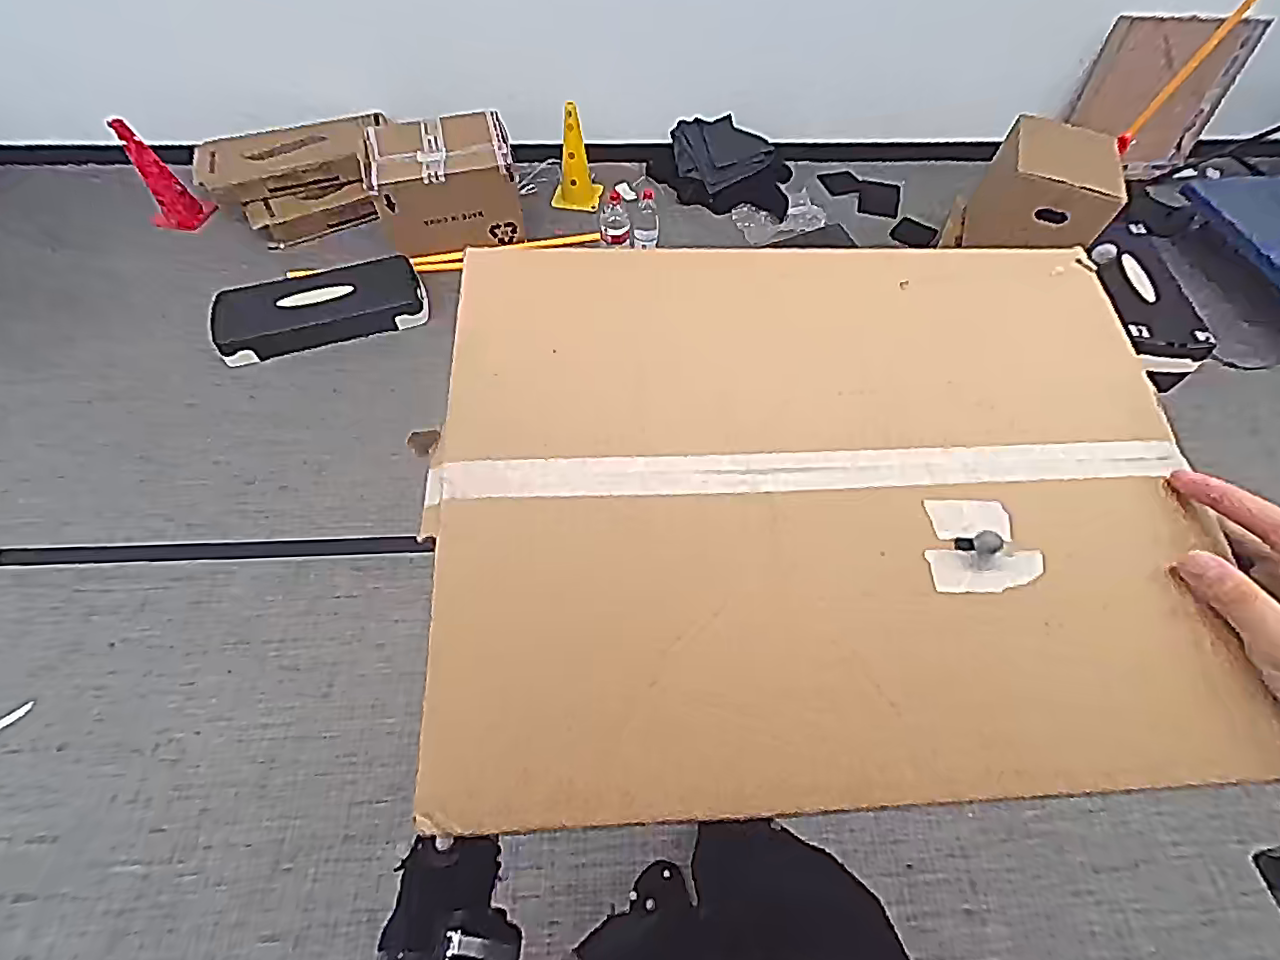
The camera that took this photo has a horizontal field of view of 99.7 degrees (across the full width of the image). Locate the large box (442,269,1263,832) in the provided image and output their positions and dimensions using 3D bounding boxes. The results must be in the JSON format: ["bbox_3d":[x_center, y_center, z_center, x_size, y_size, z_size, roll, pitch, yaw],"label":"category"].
[{"bbox_3d":[0.089,0.058,0.440,0.408,0.320,0.320,-2,69,-5],"label":"large box"}]
